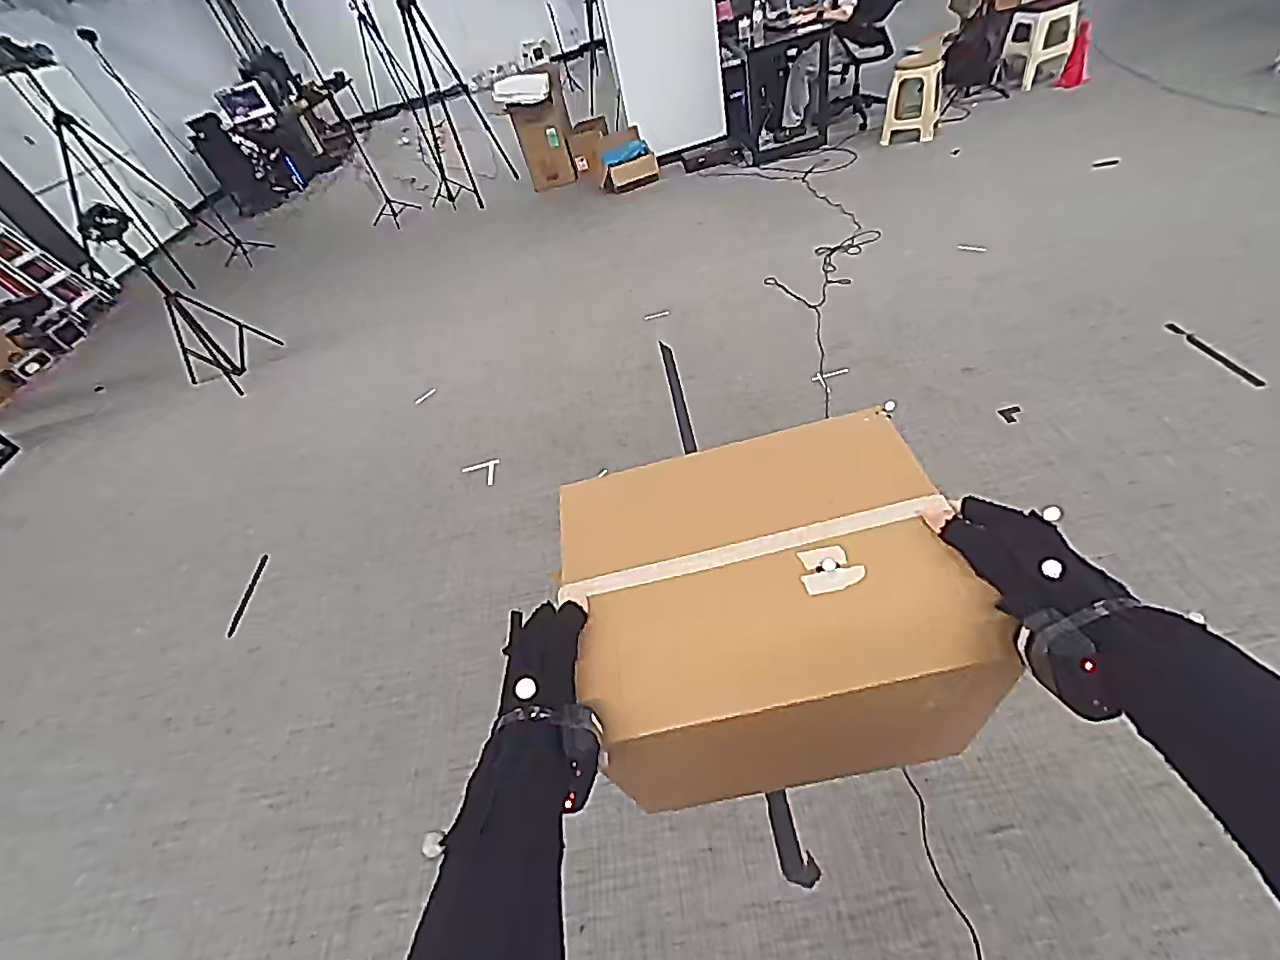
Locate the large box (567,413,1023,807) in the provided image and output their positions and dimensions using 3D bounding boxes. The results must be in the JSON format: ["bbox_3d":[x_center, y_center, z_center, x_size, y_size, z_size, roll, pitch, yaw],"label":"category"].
[{"bbox_3d":[0.149,0.172,0.683,0.408,0.320,0.320,-14,48,4],"label":"large box"}]
